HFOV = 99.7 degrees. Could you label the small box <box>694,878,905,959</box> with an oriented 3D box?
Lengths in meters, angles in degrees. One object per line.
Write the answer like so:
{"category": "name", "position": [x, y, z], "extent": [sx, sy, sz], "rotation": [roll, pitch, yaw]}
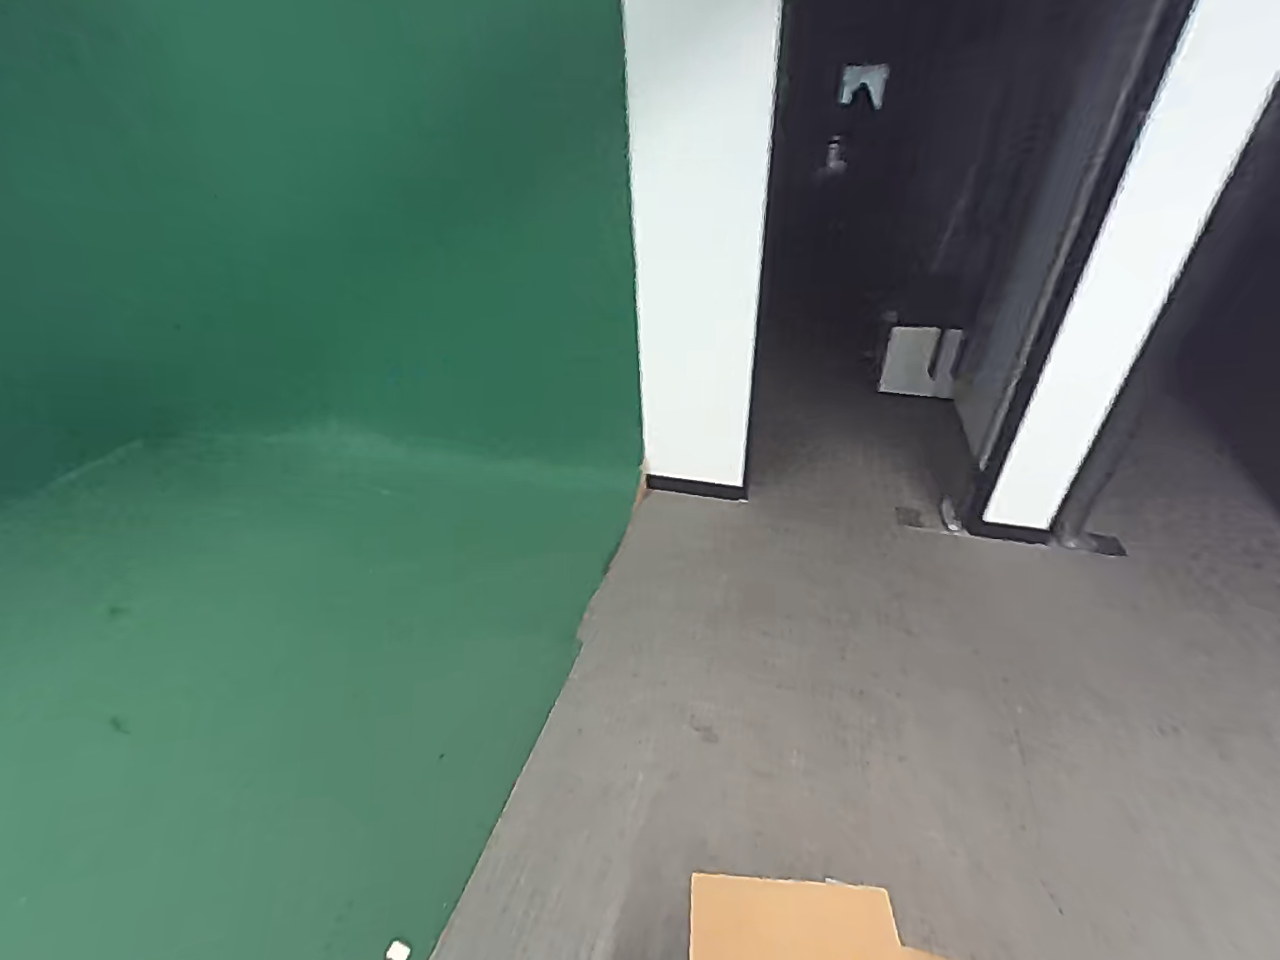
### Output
{"category": "small box", "position": [0.125, 0.461, 0.428], "extent": [0.168, 0.176, 0.179], "rotation": [-2, 30, 8]}
